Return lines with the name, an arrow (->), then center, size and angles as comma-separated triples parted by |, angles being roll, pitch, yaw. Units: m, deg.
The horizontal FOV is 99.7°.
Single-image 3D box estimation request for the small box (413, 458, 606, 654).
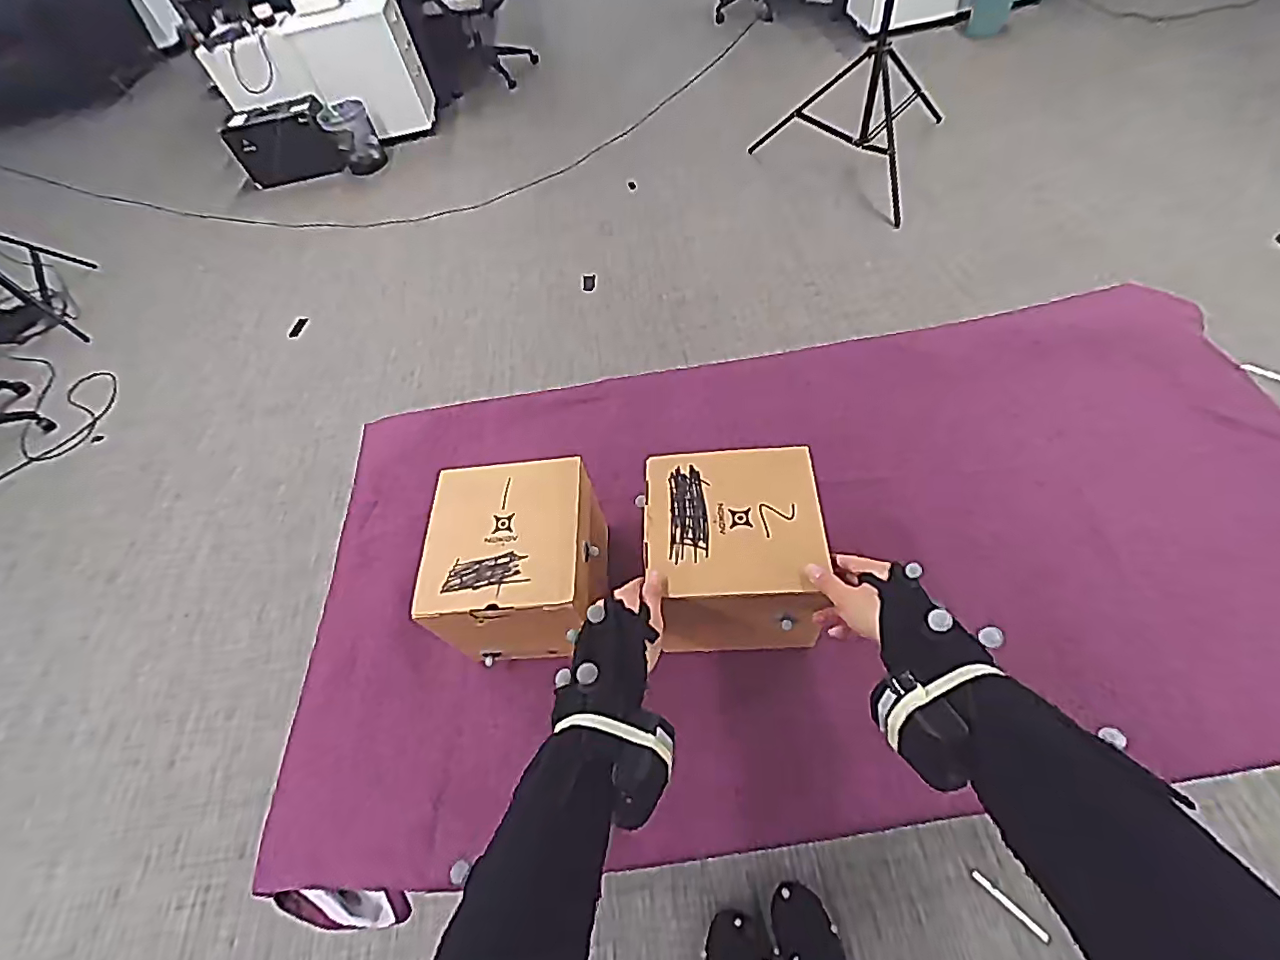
small box -> -0.135, 0.097, 0.635 | 0.168, 0.176, 0.179 | -5, 56, 5
